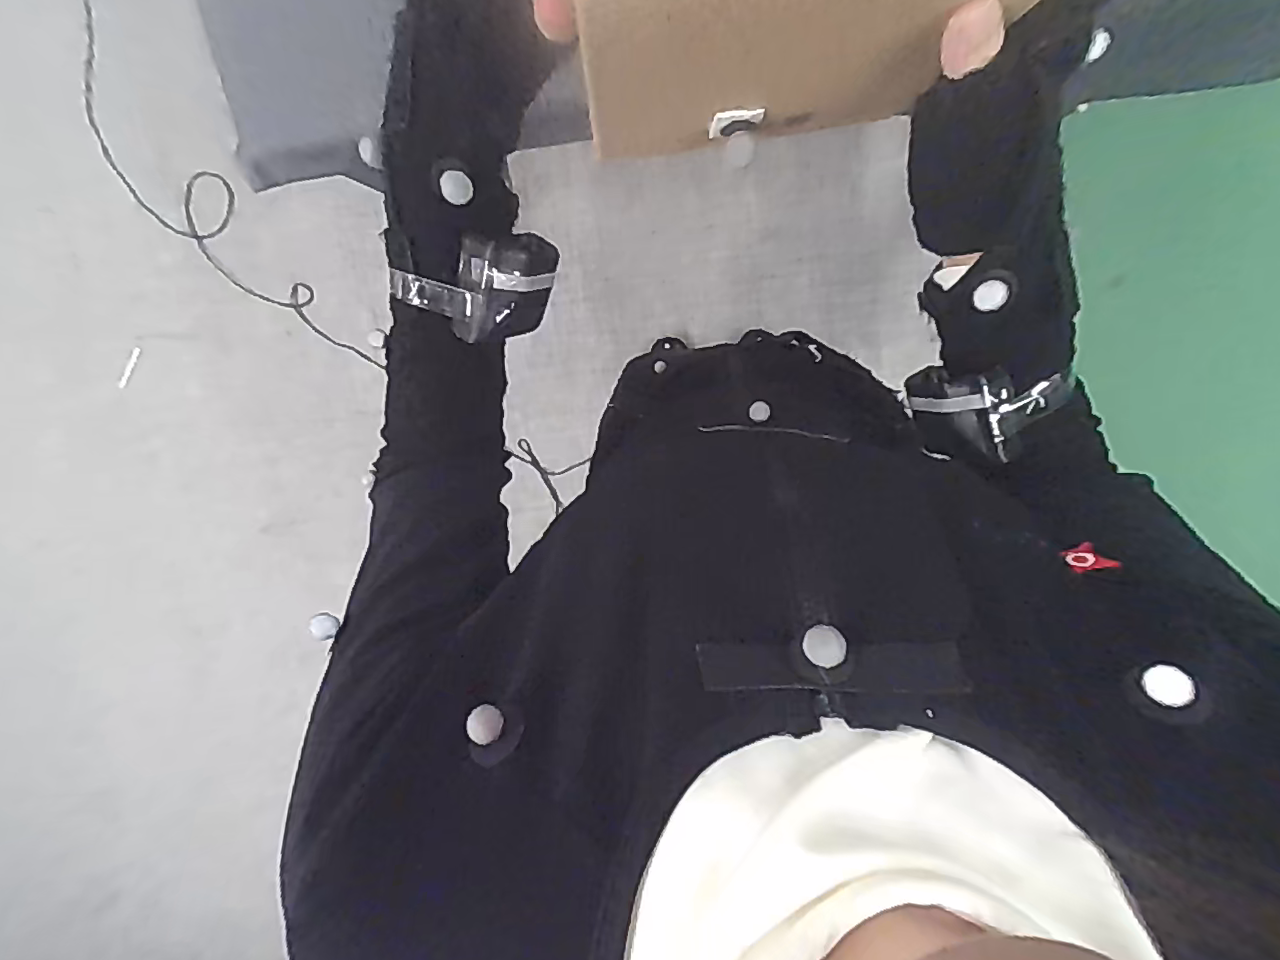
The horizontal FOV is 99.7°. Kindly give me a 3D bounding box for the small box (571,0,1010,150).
[{"bbox_3d":[0.048,-0.256,0.201,0.168,0.176,0.179,-8,105,1],"label":"small box"}]
